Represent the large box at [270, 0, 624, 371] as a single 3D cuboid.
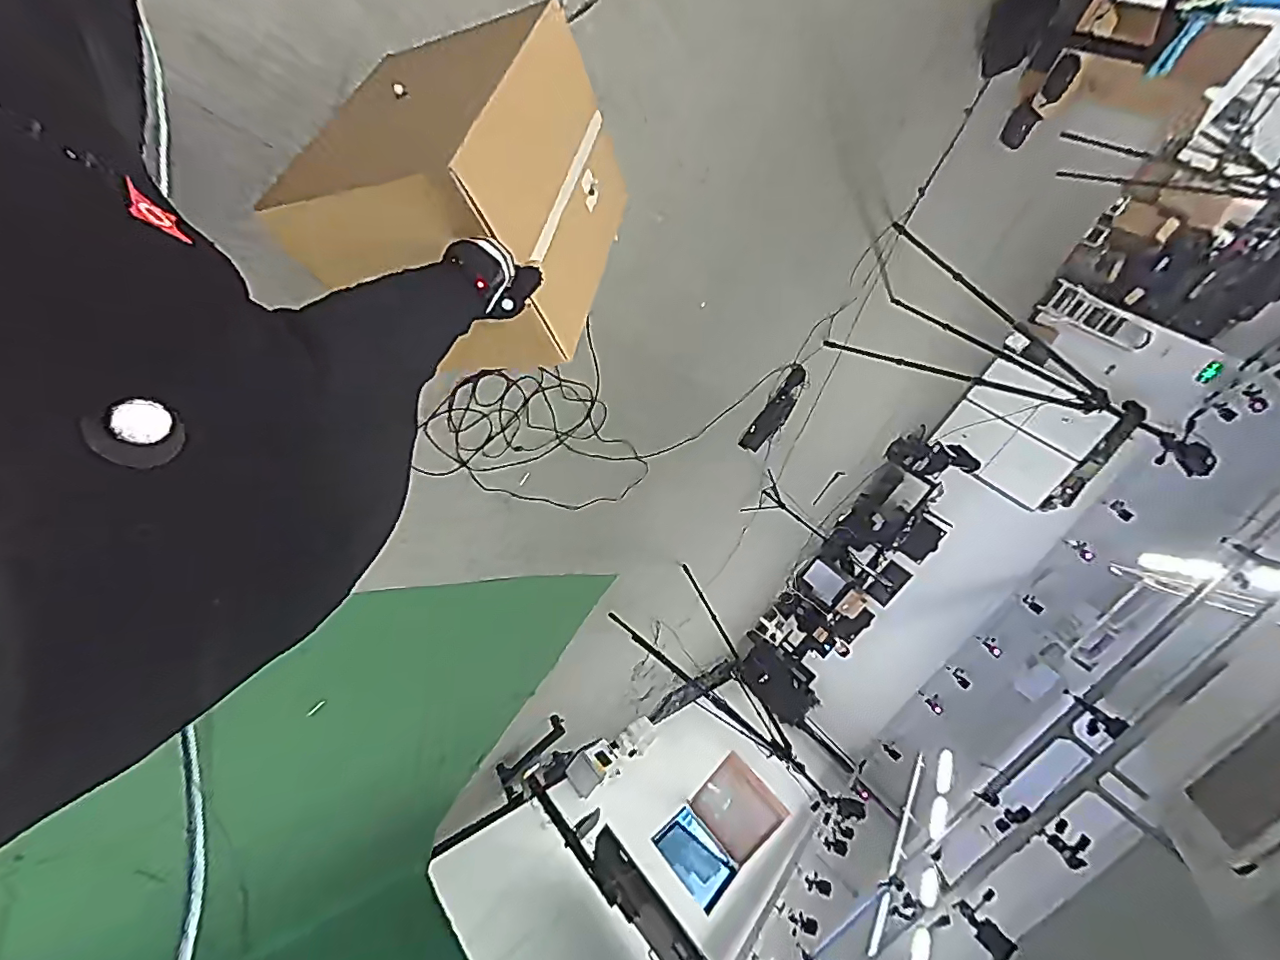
[{"bbox_3d":[-0.255,-0.427,0.839,0.320,0.320,0.408,59,38,-54],"label":"large box"}]
